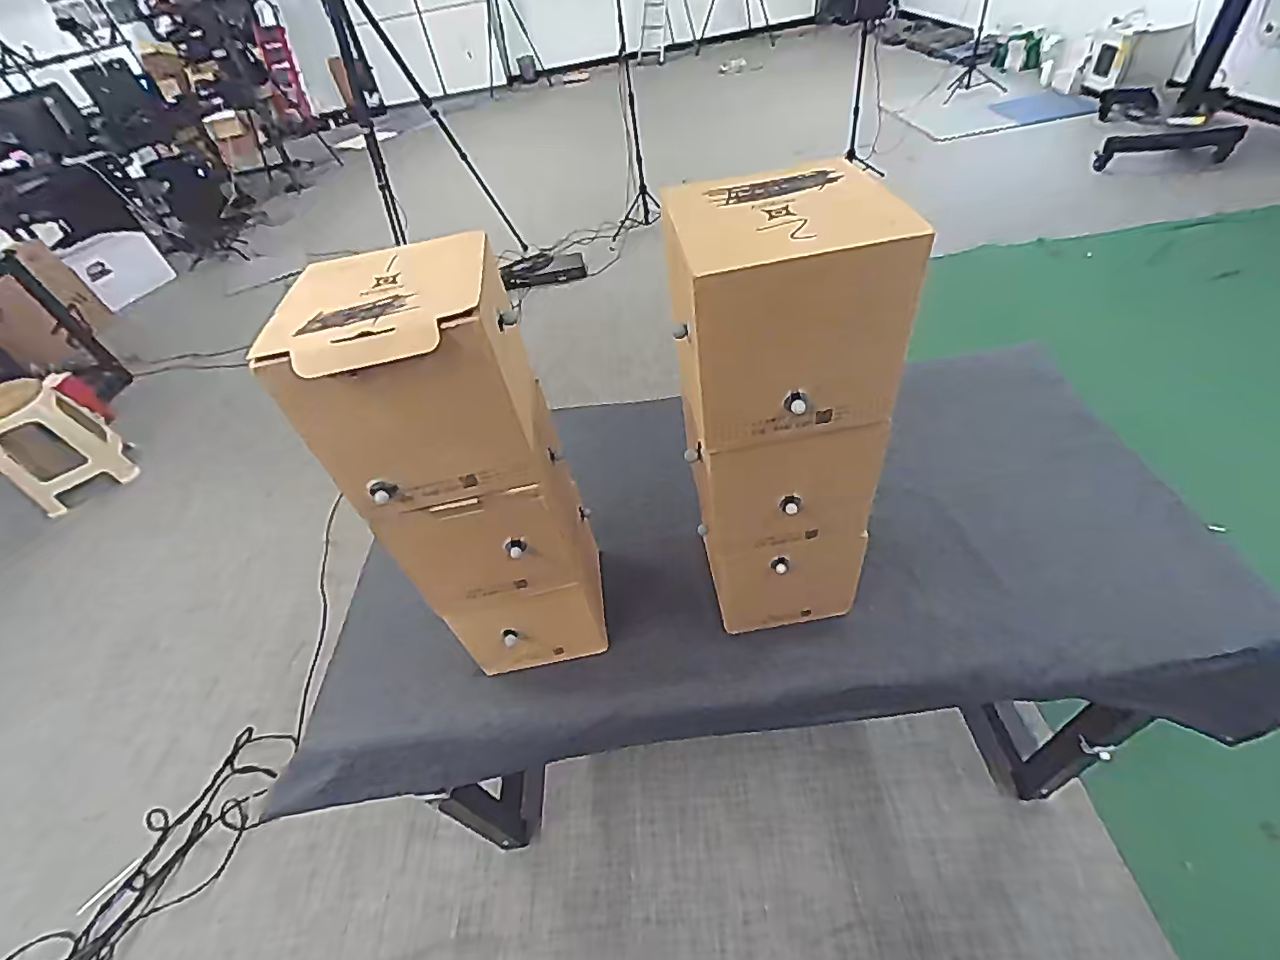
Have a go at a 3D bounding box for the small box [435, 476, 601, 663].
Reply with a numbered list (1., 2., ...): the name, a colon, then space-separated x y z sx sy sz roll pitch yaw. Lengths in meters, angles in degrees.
1. small box: -0.151 0.125 0.719 0.168 0.176 0.179 -11 45 0

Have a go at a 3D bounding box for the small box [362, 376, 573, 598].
1. small box: -0.173 0.014 0.602 0.168 0.176 0.179 -11 44 -2

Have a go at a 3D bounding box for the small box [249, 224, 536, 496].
1. small box: -0.194 -0.102 0.487 0.168 0.176 0.179 -12 44 -3

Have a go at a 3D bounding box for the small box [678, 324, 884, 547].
1. small box: 0.140 -0.042 0.594 0.168 0.176 0.179 -9 45 0

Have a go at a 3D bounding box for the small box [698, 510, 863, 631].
1. small box: 0.169 0.071 0.713 0.168 0.176 0.179 -10 44 1
